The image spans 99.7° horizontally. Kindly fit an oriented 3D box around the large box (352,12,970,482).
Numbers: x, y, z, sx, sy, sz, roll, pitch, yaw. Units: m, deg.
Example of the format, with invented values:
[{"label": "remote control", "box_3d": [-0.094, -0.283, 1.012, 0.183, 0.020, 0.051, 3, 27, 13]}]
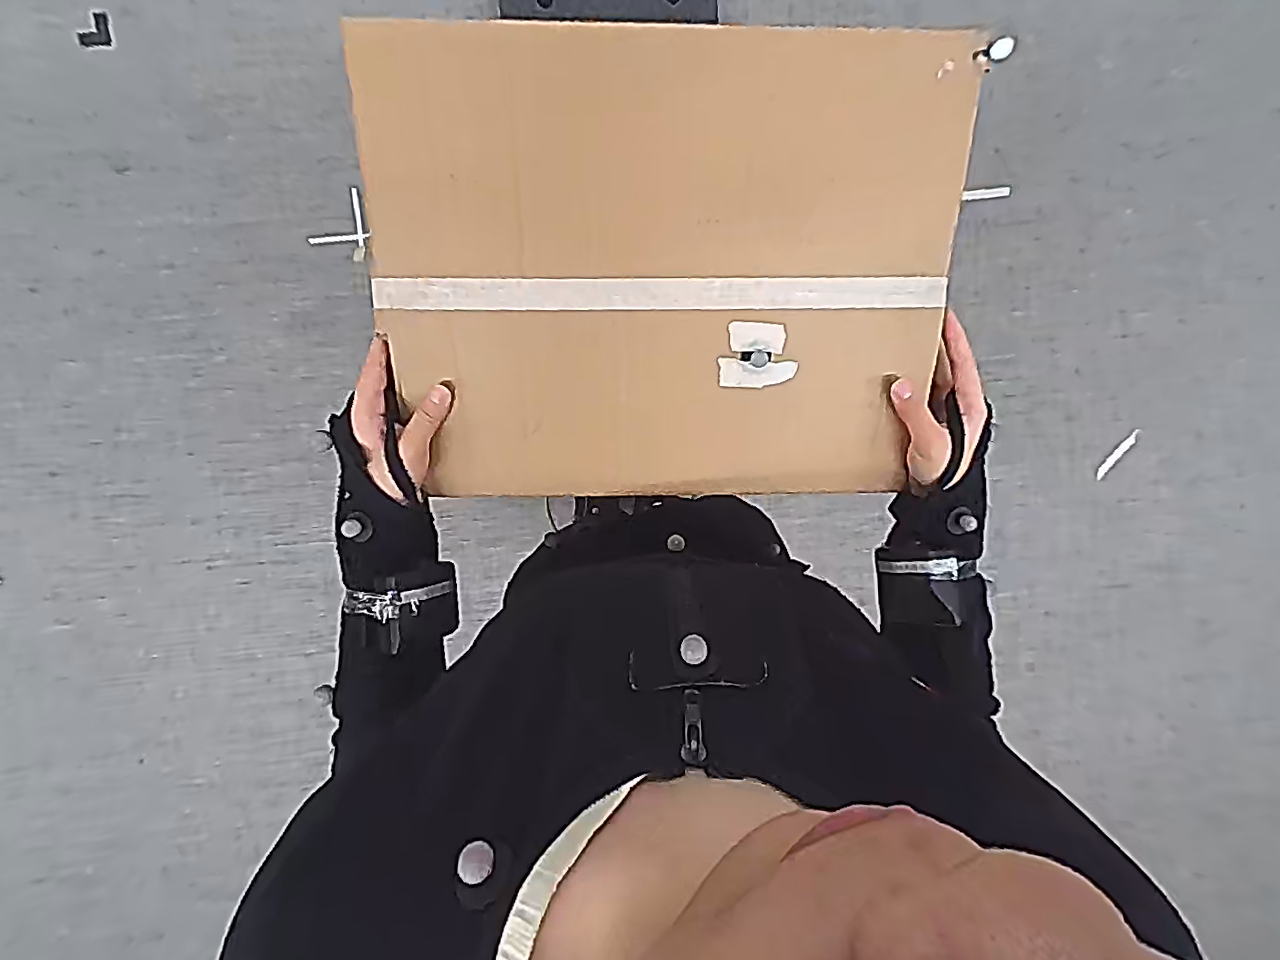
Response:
[{"label": "large box", "box_3d": [0.010, -0.197, 0.531, 0.408, 0.320, 0.320, -1, 111, -3]}]
